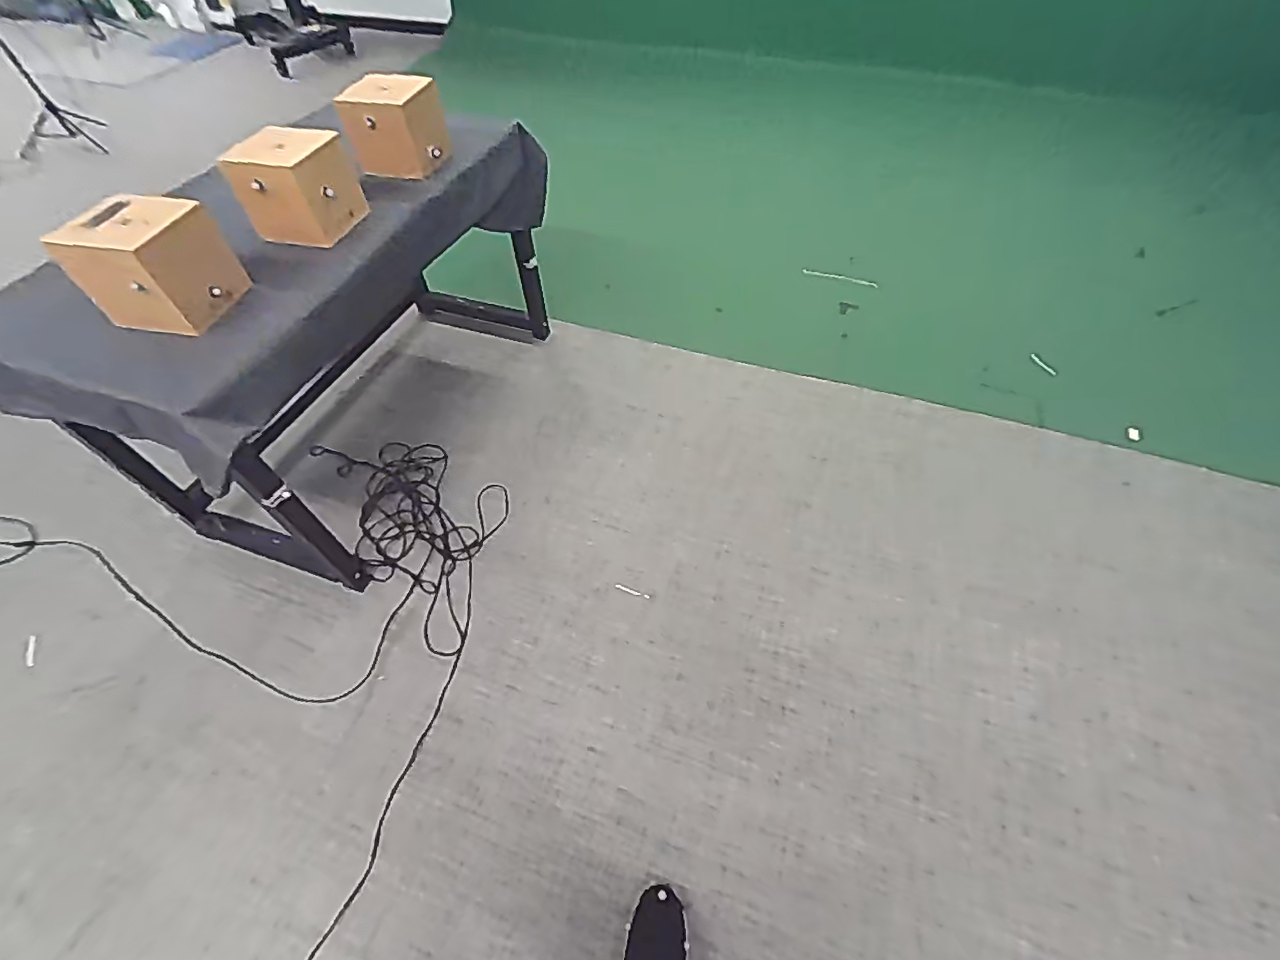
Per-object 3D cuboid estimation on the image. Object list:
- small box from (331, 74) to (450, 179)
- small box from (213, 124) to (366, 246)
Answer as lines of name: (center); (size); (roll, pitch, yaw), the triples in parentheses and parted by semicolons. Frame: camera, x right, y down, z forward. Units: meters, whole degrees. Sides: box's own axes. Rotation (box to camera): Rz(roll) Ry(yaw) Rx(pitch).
small box: (-0.596, -0.858, 1.316); (0.179, 0.176, 0.168); (10, 55, 8)
small box: (-0.721, -0.616, 1.138); (0.179, 0.176, 0.168); (11, 54, 10)
